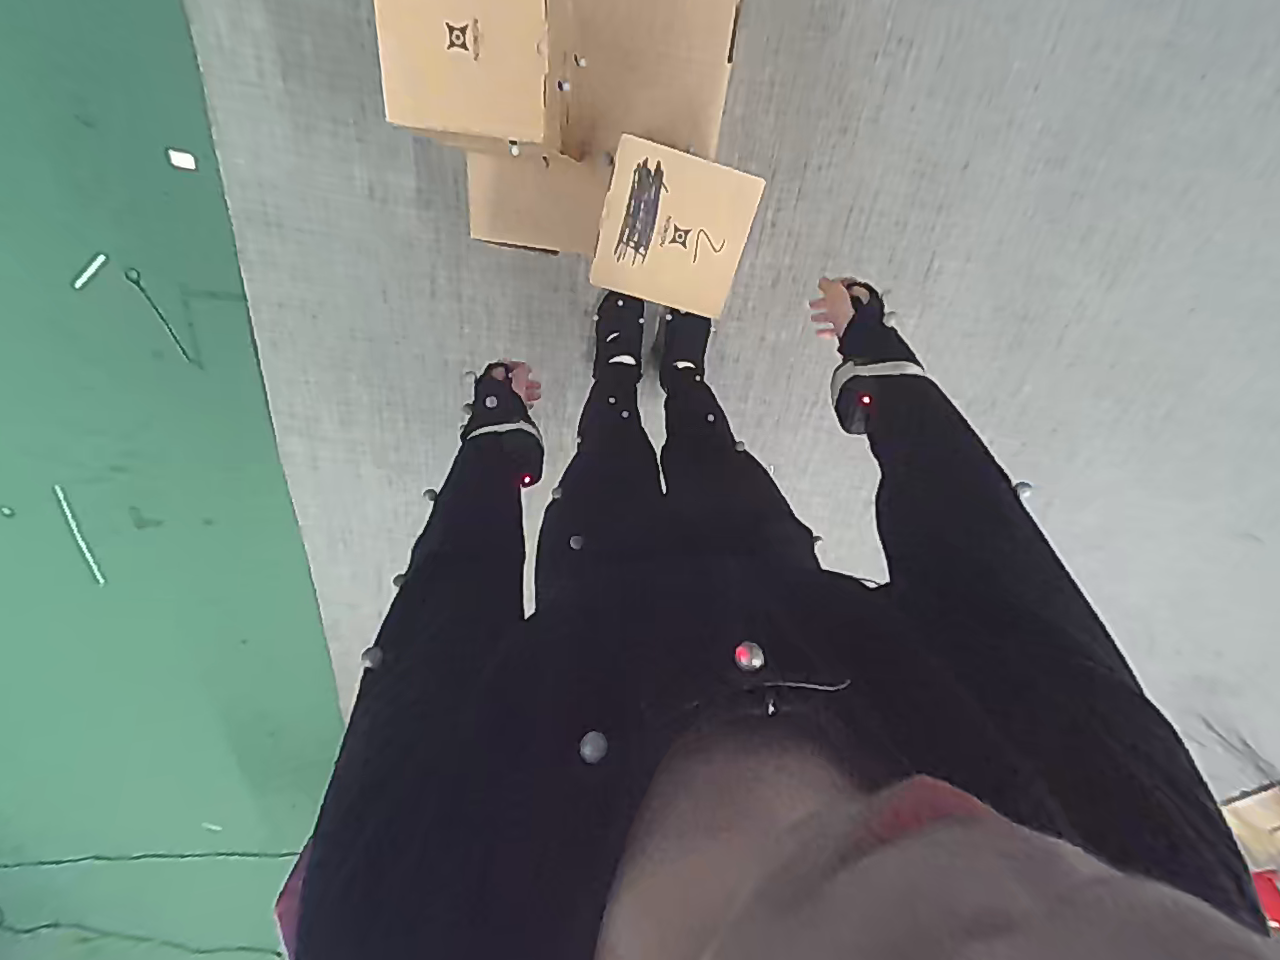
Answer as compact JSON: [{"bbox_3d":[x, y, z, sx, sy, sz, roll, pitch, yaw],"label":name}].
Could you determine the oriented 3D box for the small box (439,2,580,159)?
[{"bbox_3d":[-0.180,-0.565,0.774,0.179,0.176,0.168,4,117,-2],"label":"small box"}]

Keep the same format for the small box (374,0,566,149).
[{"bbox_3d":[-0.185,-0.493,0.628,0.179,0.176,0.168,5,117,-3],"label":"small box"}]

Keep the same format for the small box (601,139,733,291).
[{"bbox_3d":[0.033,-0.415,0.855,0.168,0.176,0.179,9,117,-6],"label":"small box"}]
